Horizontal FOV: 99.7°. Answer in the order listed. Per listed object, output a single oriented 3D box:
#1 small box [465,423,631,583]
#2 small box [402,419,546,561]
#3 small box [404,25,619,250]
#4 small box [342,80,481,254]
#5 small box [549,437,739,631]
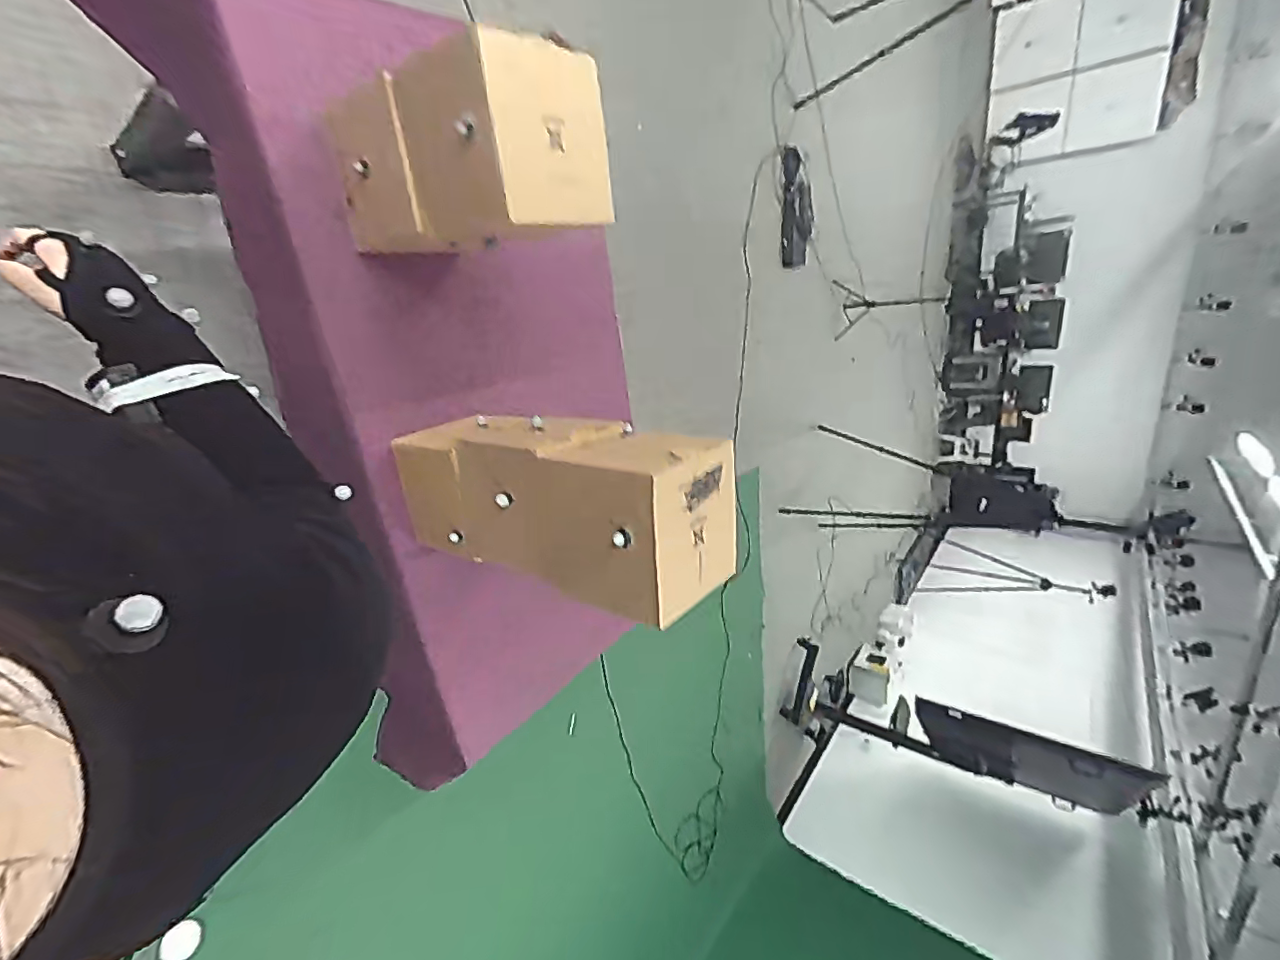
[{"bbox_3d":[-0.122,0.018,0.754,0.168,0.176,0.179,-23,114,-47],"label":"small box"},{"bbox_3d":[-0.249,0.004,0.858,0.168,0.176,0.179,-28,119,-45],"label":"small box"},{"bbox_3d":[-0.149,-0.378,0.636,0.168,0.176,0.179,-27,117,-44],"label":"small box"},{"bbox_3d":[-0.277,-0.405,0.735,0.179,0.176,0.168,-26,118,-46],"label":"small box"},{"bbox_3d":[0.007,0.048,0.654,0.168,0.176,0.179,-23,116,-47],"label":"small box"}]
